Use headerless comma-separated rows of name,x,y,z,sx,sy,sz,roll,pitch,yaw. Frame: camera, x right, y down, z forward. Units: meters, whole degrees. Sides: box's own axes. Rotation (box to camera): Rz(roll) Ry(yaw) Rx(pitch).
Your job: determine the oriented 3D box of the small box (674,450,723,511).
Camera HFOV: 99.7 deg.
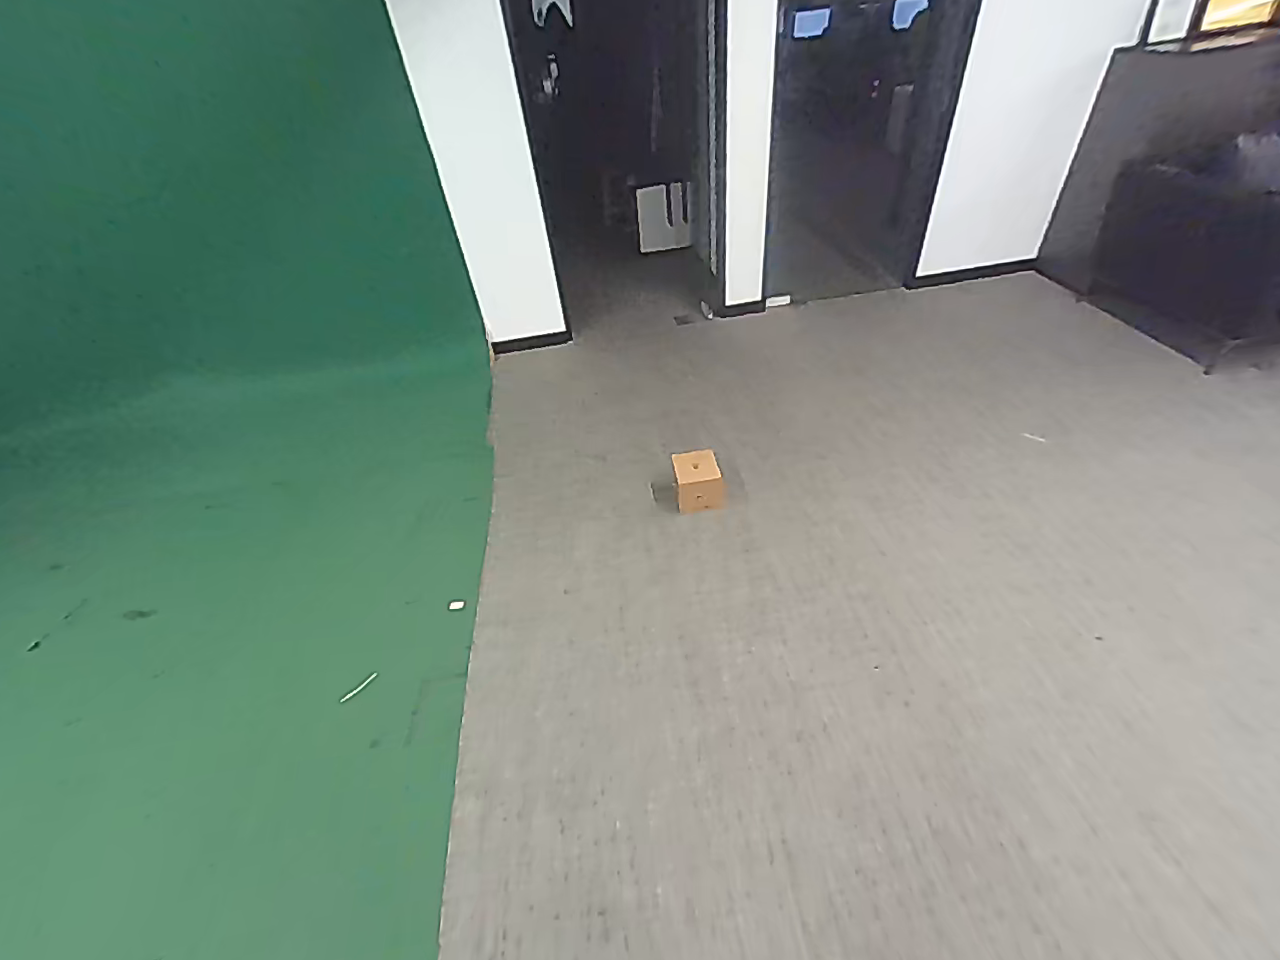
small box,0.230,0.010,2.127,0.168,0.176,0.179,-8,42,-1
